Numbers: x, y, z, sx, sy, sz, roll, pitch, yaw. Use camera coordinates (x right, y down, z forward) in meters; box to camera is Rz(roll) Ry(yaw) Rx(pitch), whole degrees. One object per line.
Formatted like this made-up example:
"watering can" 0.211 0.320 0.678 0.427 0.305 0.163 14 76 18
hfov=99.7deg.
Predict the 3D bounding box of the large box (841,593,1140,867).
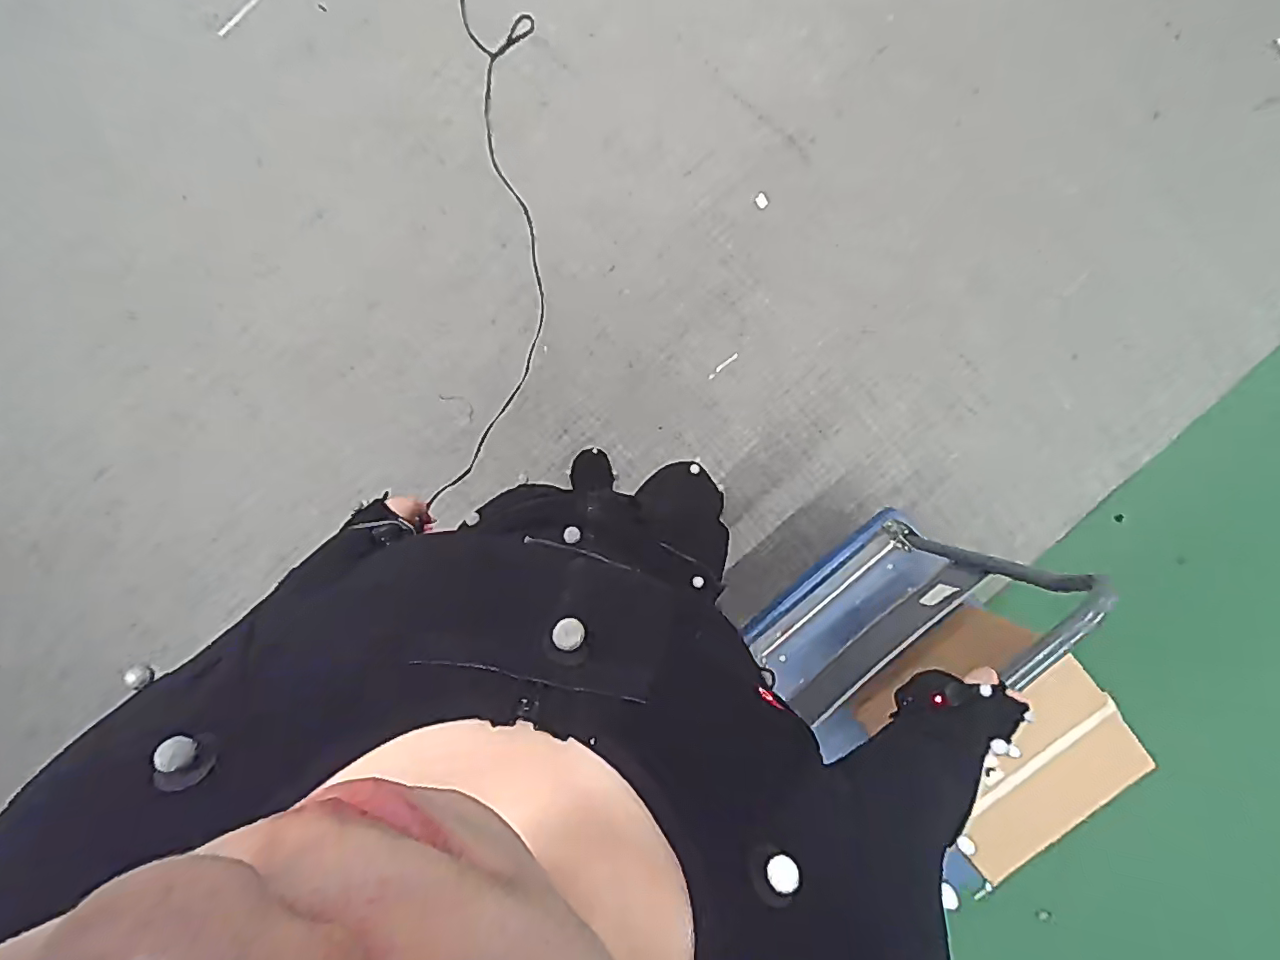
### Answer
"large box" 0.749 0.528 1.219 0.408 0.320 0.320 -39 92 2
